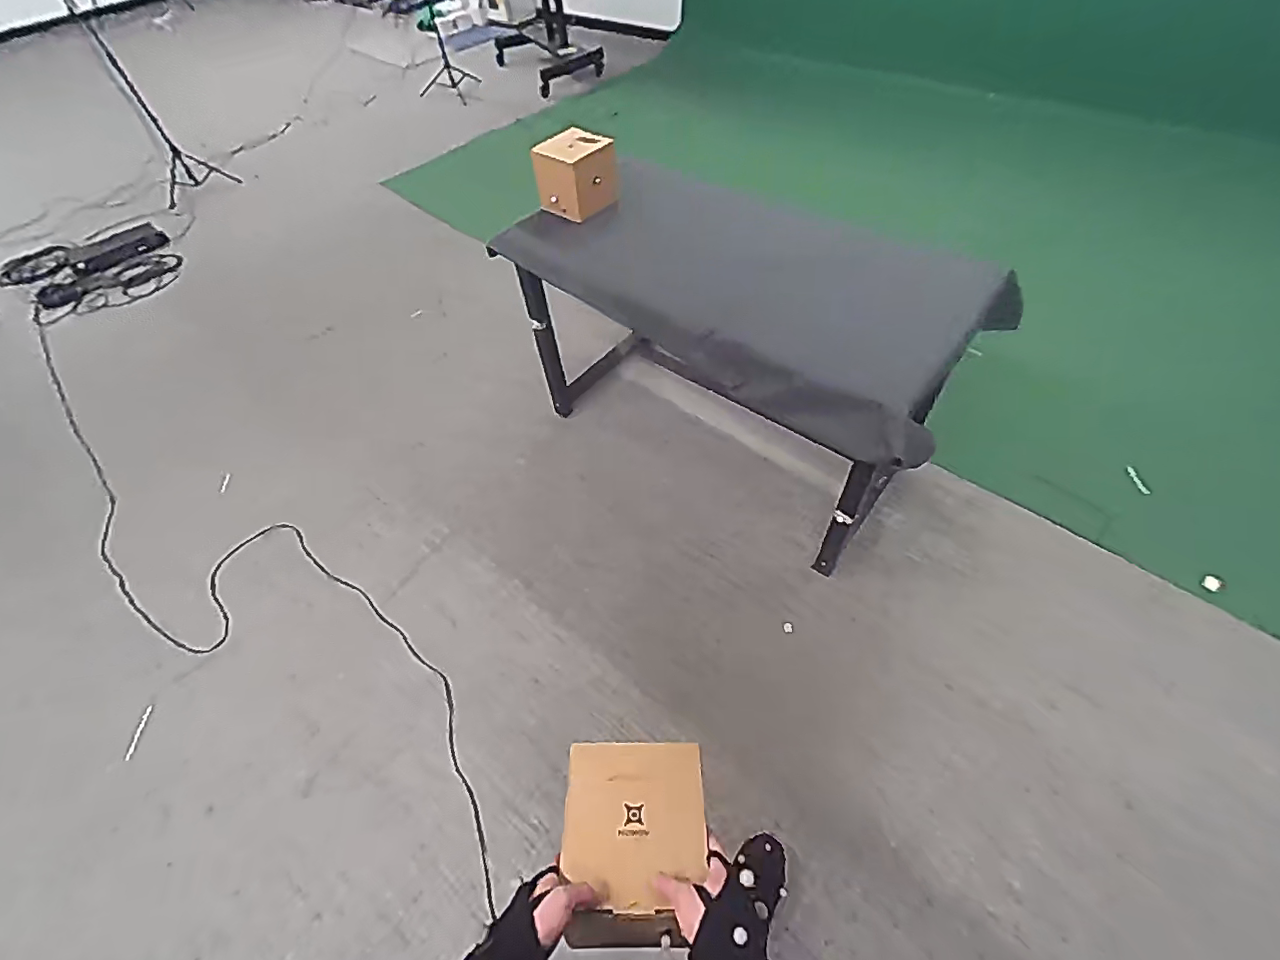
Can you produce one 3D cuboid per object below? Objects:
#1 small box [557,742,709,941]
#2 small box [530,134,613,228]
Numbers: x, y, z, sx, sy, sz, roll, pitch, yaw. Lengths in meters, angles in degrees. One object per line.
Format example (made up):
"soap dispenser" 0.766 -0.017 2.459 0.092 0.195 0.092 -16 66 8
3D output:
"small box" -0.008 0.458 0.685 0.168 0.176 0.179 -1 39 -2
"small box" -0.191 -0.870 1.574 0.168 0.176 0.179 32 62 24
